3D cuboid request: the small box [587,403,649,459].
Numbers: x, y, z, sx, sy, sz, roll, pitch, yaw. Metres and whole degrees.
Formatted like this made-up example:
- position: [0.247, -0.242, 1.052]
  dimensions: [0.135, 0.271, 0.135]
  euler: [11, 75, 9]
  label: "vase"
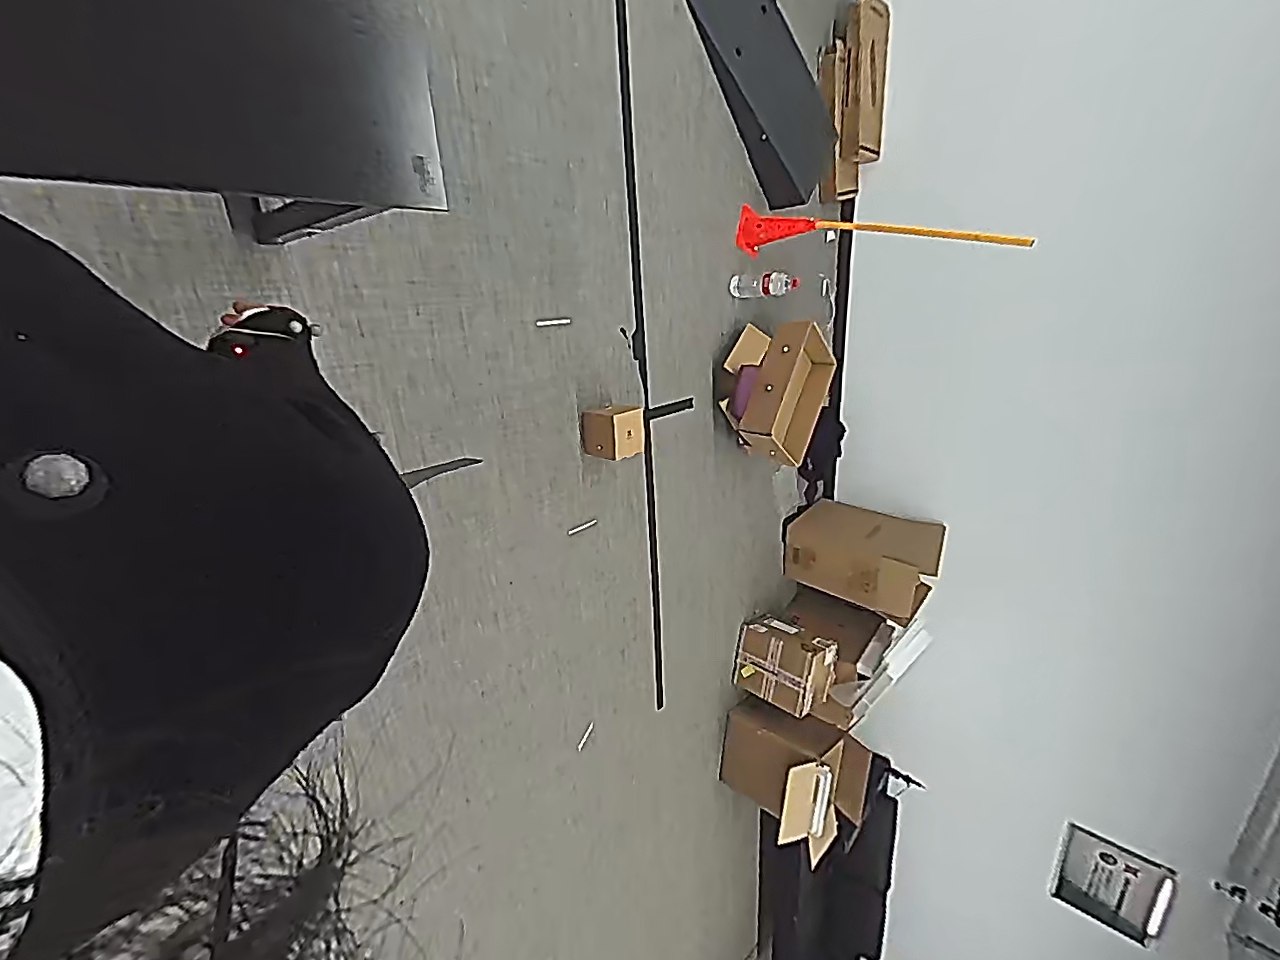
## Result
- position: [-0.085, -0.193, 2.078]
  dimensions: [0.168, 0.176, 0.179]
  euler: [-24, 117, -44]
  label: "small box"
